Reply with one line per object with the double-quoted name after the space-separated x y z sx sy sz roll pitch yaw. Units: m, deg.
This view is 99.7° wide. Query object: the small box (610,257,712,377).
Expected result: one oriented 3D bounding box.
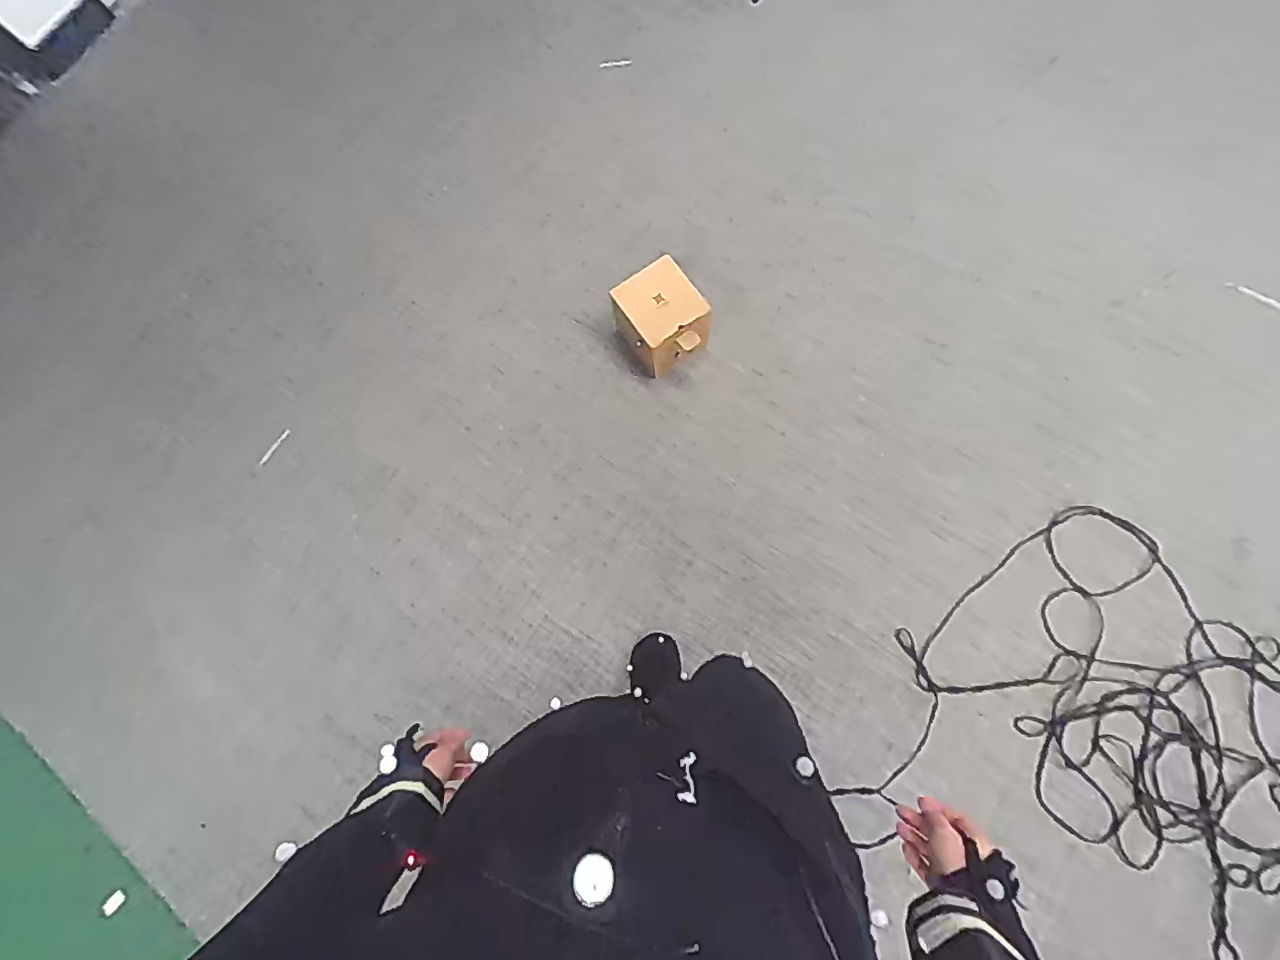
0.049 -0.378 1.278 0.168 0.176 0.179 -34 78 -4 "small box"
